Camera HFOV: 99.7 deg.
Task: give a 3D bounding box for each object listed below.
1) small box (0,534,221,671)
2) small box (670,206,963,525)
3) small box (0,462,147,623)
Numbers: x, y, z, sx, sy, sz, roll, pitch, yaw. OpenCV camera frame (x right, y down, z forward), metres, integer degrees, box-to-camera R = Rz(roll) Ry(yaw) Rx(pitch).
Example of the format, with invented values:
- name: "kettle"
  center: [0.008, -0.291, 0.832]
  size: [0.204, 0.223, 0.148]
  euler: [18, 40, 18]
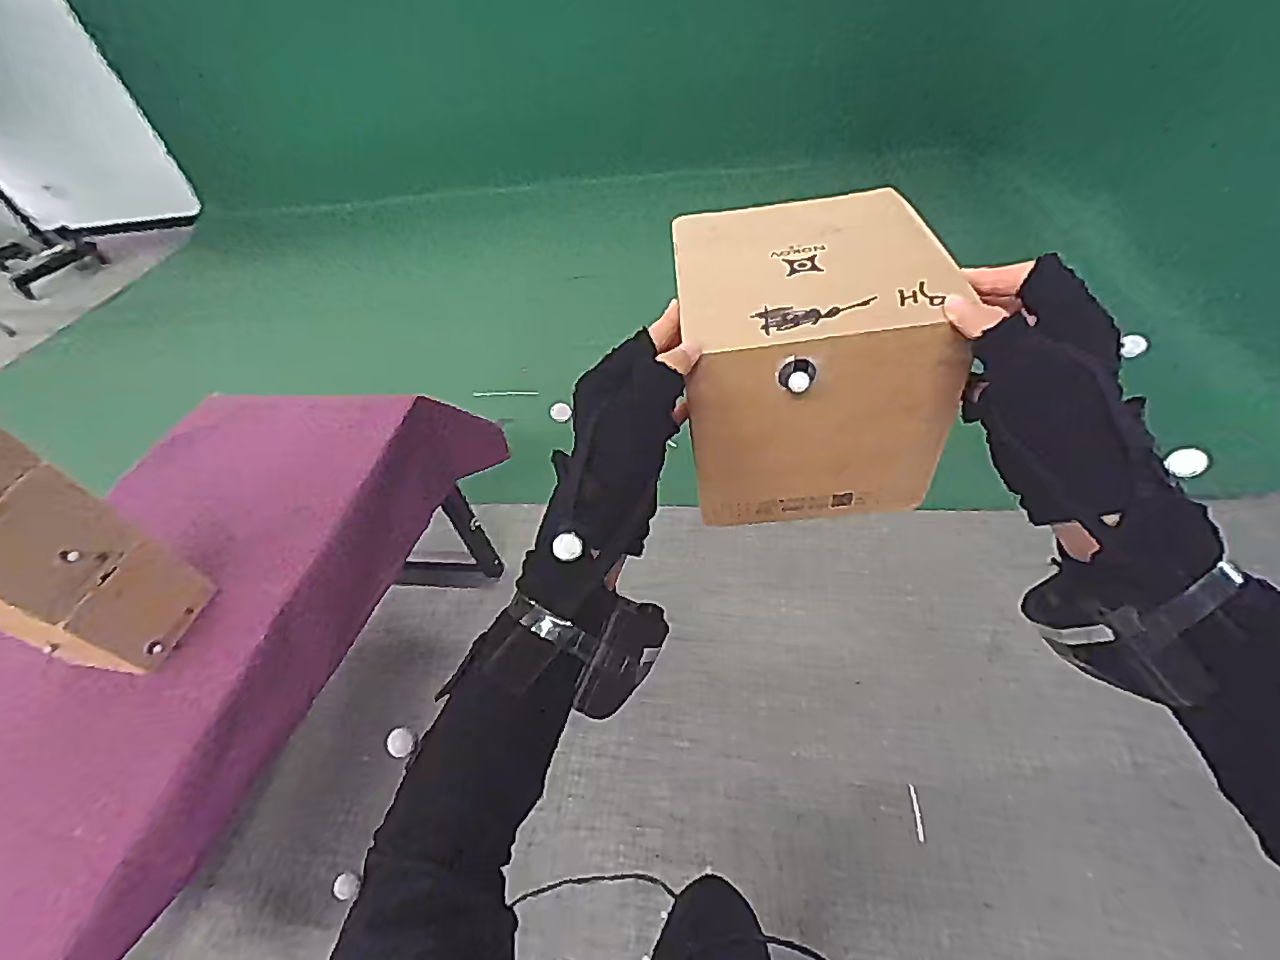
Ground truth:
- name: "small box"
  center: [-0.857, 0.198, 0.889]
  size: [0.179, 0.176, 0.168]
  euler: [2, 48, 13]
- name: "small box"
  center: [0.112, -0.086, 0.423]
  size: [0.168, 0.176, 0.179]
  euler: [-5, 47, 7]
- name: "small box"
  center: [-0.887, 0.088, 0.770]
  size: [0.179, 0.176, 0.168]
  euler: [2, 48, 12]
